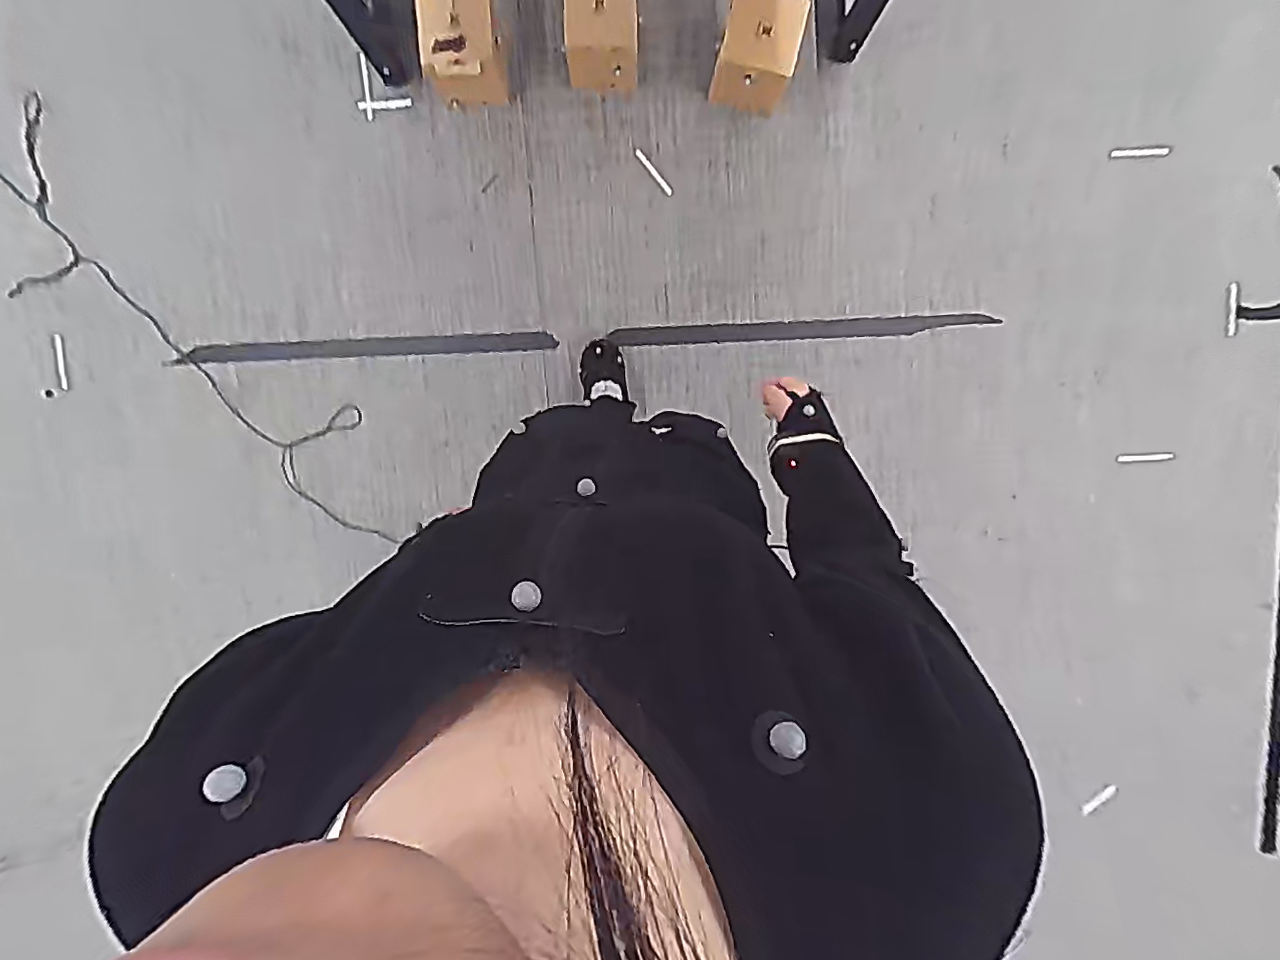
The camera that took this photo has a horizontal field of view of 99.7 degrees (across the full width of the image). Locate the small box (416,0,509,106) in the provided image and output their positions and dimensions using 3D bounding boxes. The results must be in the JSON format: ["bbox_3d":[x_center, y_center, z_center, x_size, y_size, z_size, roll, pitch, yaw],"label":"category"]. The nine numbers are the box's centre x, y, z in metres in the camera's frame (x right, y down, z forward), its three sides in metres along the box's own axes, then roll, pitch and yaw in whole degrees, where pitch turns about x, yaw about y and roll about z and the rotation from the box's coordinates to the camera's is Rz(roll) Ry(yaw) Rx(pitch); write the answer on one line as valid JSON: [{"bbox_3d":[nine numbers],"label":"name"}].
[{"bbox_3d":[-0.413,-1.020,1.282,0.168,0.176,0.179,-2,95,-1],"label":"small box"}]

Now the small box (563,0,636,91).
[{"bbox_3d":[-0.092,-1.062,1.286,0.168,0.176,0.179,-2,95,-2],"label":"small box"}]

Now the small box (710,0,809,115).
[{"bbox_3d":[0.278,-1.017,1.298,0.179,0.176,0.168,14,96,-1],"label":"small box"}]
